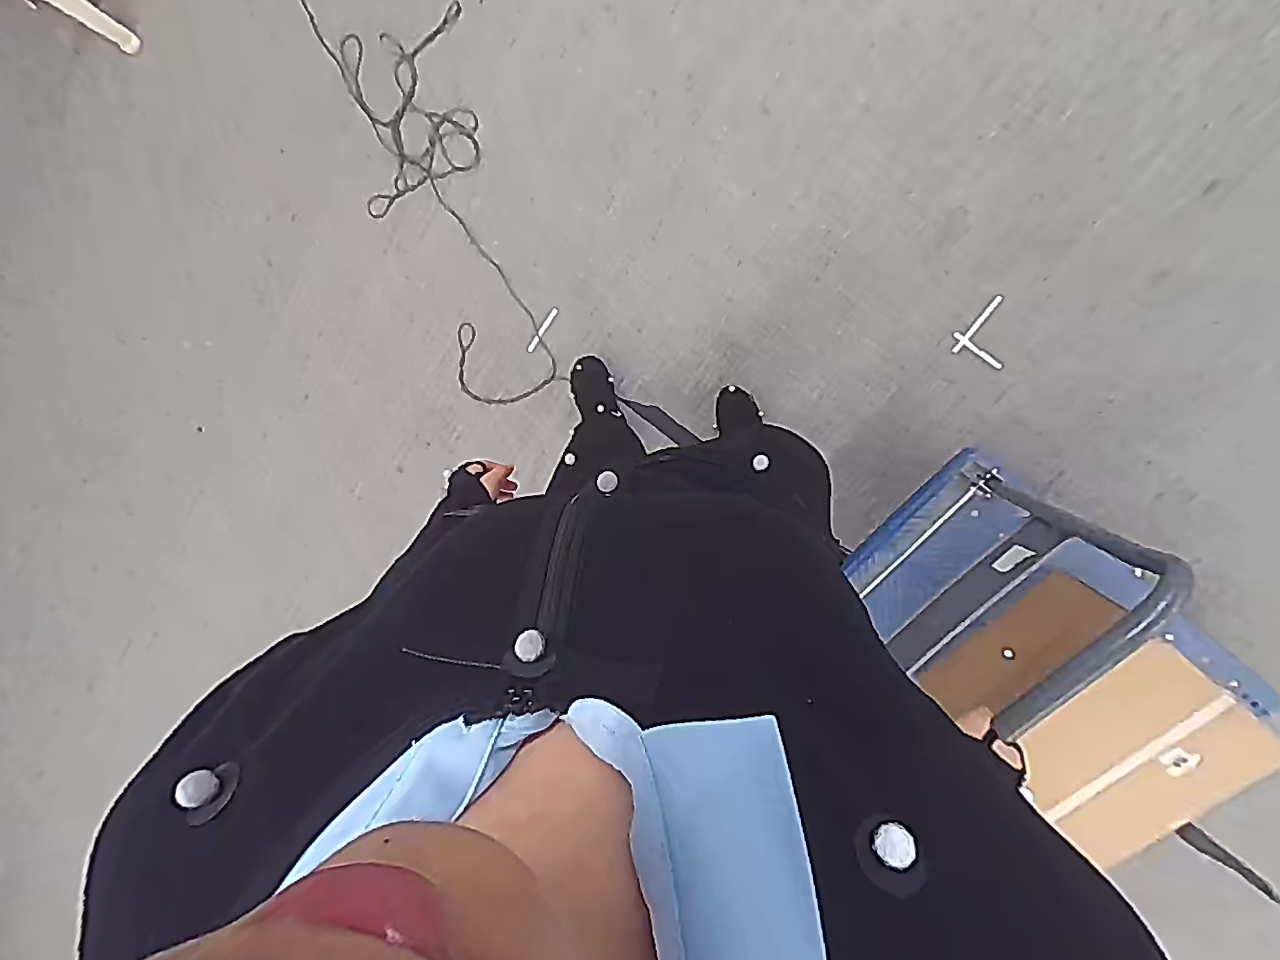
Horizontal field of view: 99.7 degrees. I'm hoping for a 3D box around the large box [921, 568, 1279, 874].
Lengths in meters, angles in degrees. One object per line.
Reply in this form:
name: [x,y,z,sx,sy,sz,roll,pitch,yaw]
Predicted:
large box: [0.872,0.458,1.092,0.320,0.320,0.408,41,105,0]
